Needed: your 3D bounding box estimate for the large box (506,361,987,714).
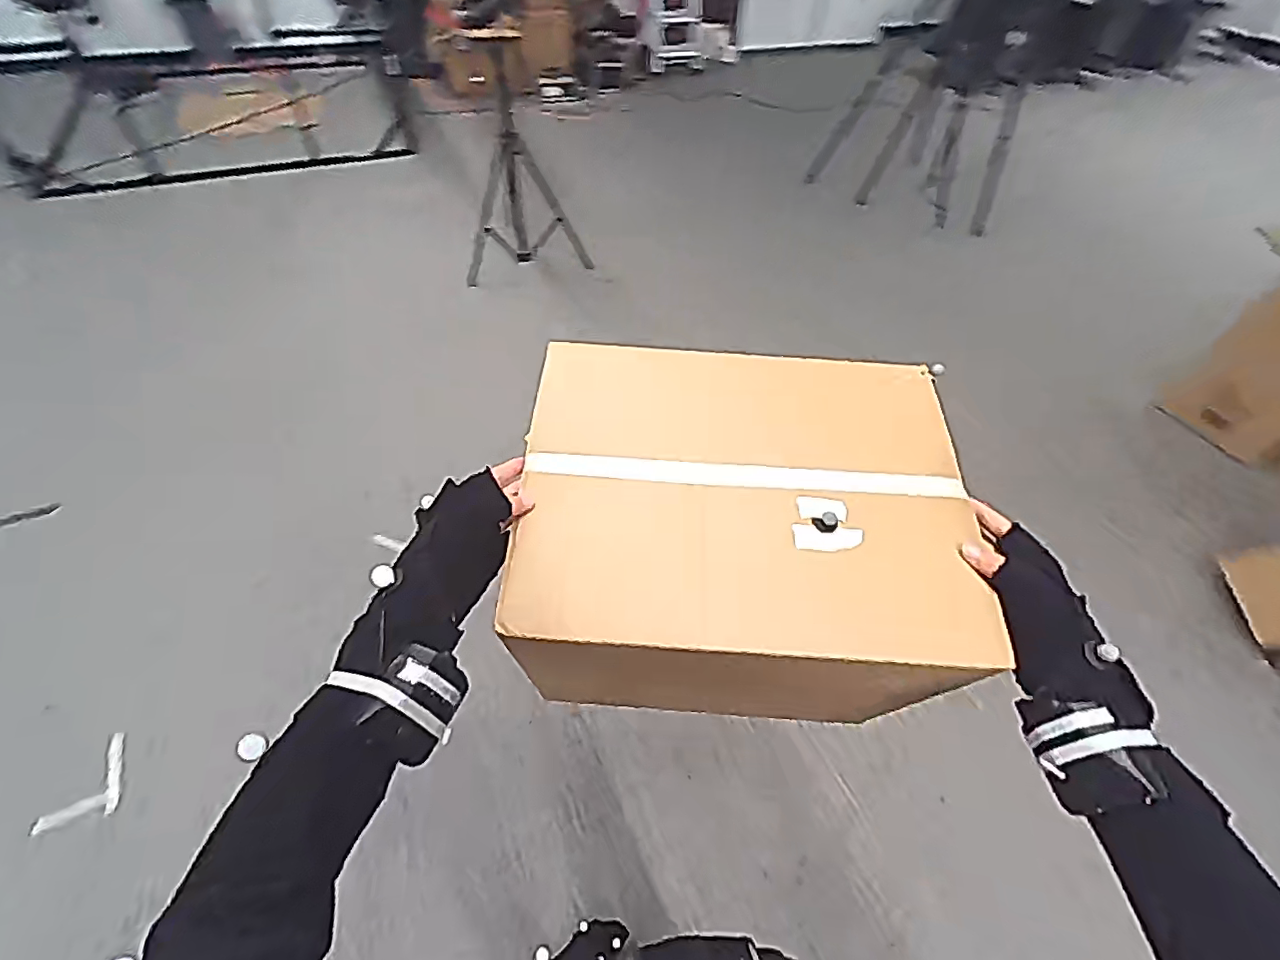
[{"bbox_3d":[0.085,0.085,0.640,0.408,0.320,0.320,3,59,-1],"label":"large box"}]
